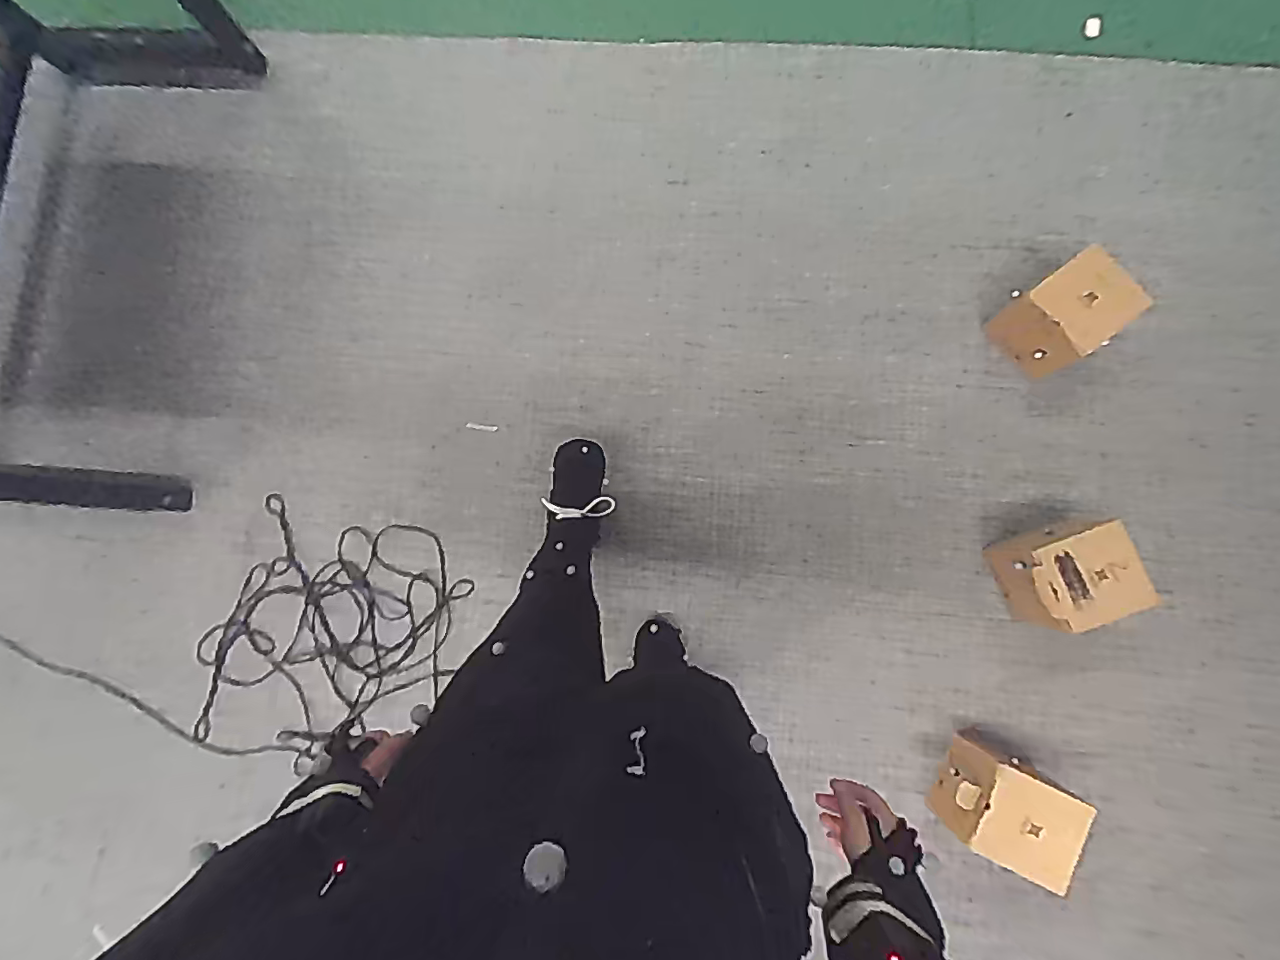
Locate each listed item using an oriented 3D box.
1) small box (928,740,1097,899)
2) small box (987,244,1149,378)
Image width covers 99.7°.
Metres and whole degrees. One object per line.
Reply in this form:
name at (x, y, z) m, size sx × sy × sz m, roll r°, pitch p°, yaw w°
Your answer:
small box at (0.695, 0.628, 1.028) m, size 0.179 × 0.176 × 0.168 m, roll 24°, pitch 86°, yaw 6°
small box at (0.871, -0.340, 1.128) m, size 0.179 × 0.176 × 0.168 m, roll -38°, pitch 84°, yaw -3°
